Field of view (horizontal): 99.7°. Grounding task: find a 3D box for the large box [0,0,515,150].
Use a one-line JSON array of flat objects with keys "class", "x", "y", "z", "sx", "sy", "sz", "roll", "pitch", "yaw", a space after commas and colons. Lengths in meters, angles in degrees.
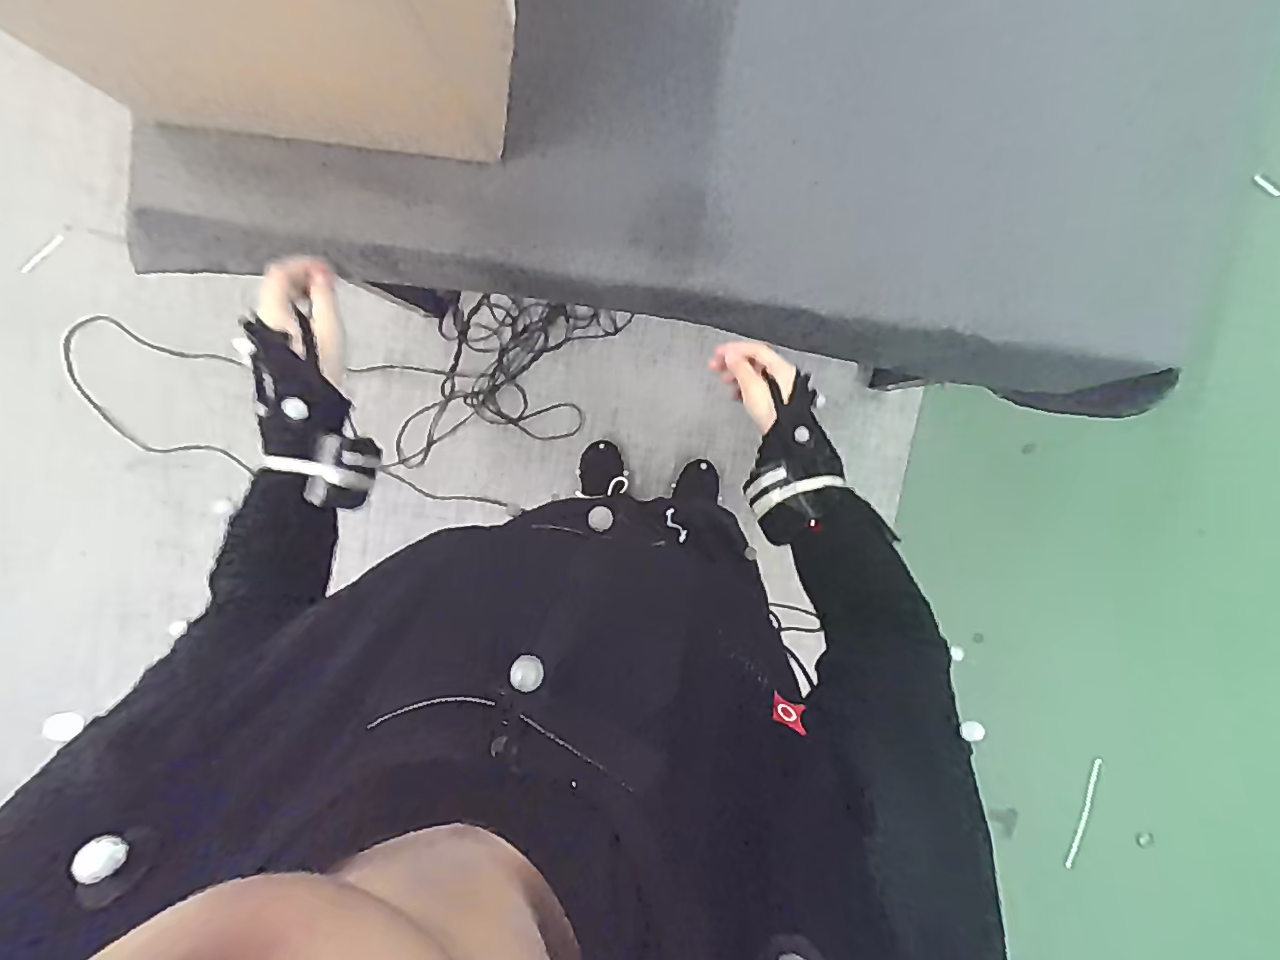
[{"class": "large box", "x": -0.332, "y": -0.518, "z": 0.438, "sx": 0.408, "sy": 0.320, "sz": 0.320, "roll": 6, "pitch": 96, "yaw": -1}]
